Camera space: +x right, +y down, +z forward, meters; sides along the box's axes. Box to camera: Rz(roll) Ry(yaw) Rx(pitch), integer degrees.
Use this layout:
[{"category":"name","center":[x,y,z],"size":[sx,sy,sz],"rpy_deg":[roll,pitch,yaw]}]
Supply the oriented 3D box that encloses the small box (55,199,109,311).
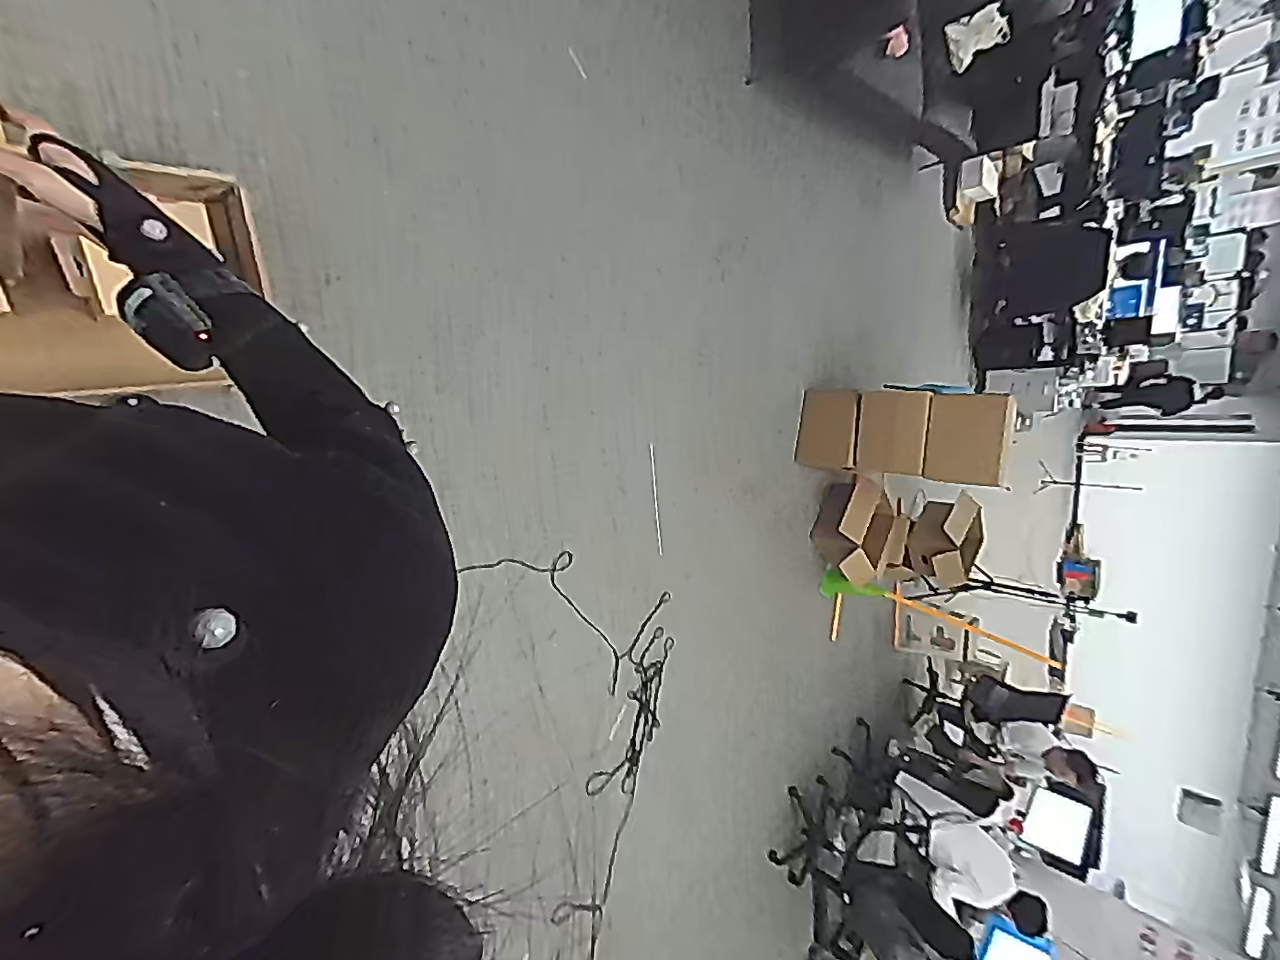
[{"category":"small box","center":[-0.944,-0.418,1.020],"size":[0.179,0.176,0.168],"rpy_deg":[-23,113,-41]}]

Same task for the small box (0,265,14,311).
[{"category":"small box","center":[-1.137,-0.351,0.842],"size":[0.179,0.176,0.168],"rpy_deg":[-22,112,-43]}]

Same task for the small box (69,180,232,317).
[{"category":"small box","center":[-0.824,-0.379,0.915],"size":[0.168,0.176,0.179],"rpy_deg":[-18,108,-41]}]
